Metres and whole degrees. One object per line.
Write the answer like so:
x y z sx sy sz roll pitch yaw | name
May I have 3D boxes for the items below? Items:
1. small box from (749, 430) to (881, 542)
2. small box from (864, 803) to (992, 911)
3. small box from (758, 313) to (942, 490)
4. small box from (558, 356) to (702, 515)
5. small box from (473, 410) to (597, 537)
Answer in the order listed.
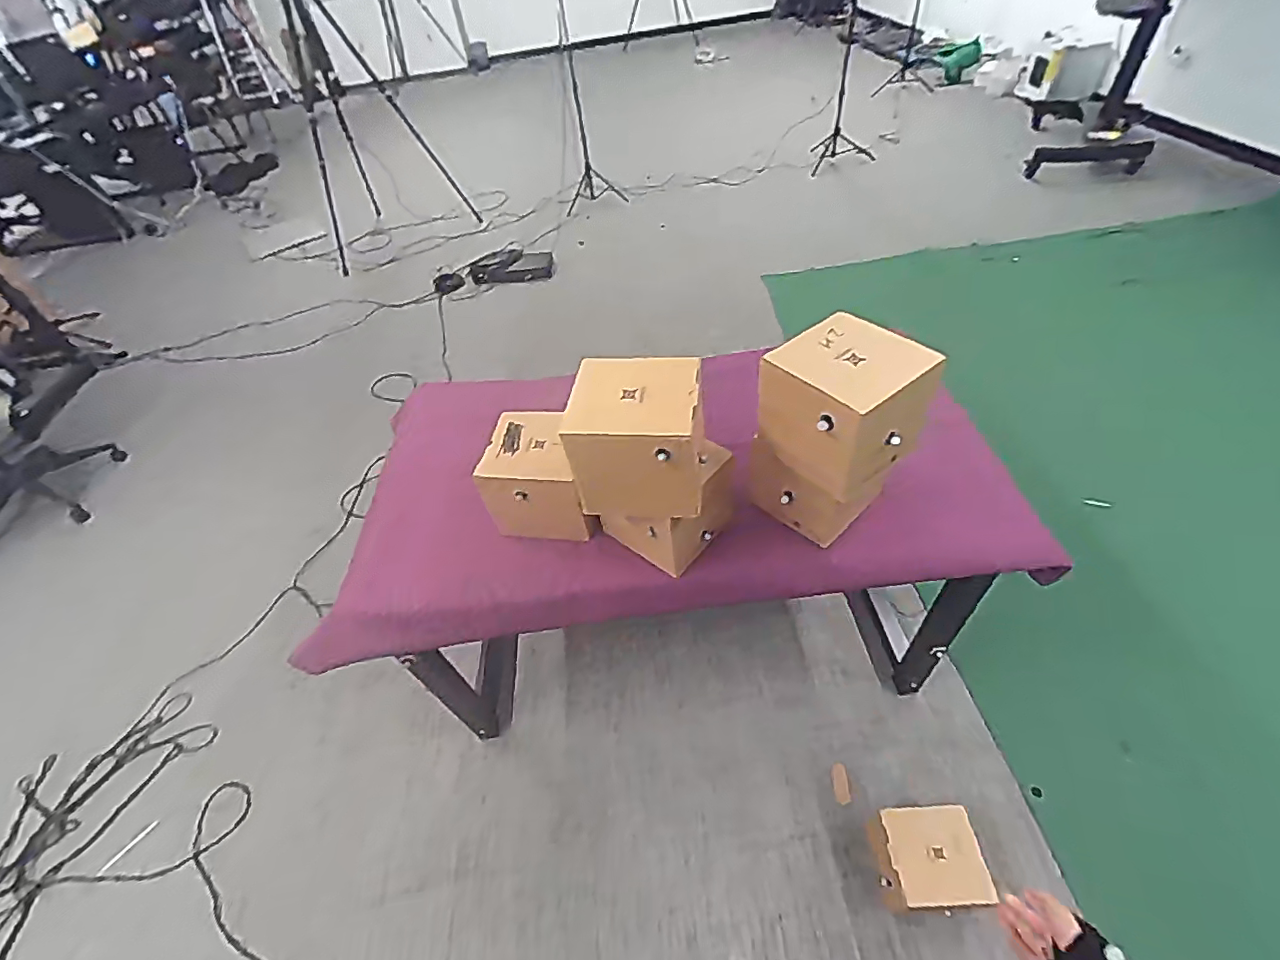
0.307 -0.026 0.935 0.179 0.176 0.168 -38 53 -23 | small box
0.588 0.796 1.139 0.179 0.176 0.168 -5 48 3 | small box
0.290 -0.108 0.787 0.168 0.176 0.179 -31 50 -20 | small box
-0.002 -0.063 0.791 0.179 0.176 0.168 2 48 9 | small box
-0.174 -0.011 0.990 0.179 0.176 0.168 3 49 9 | small box
